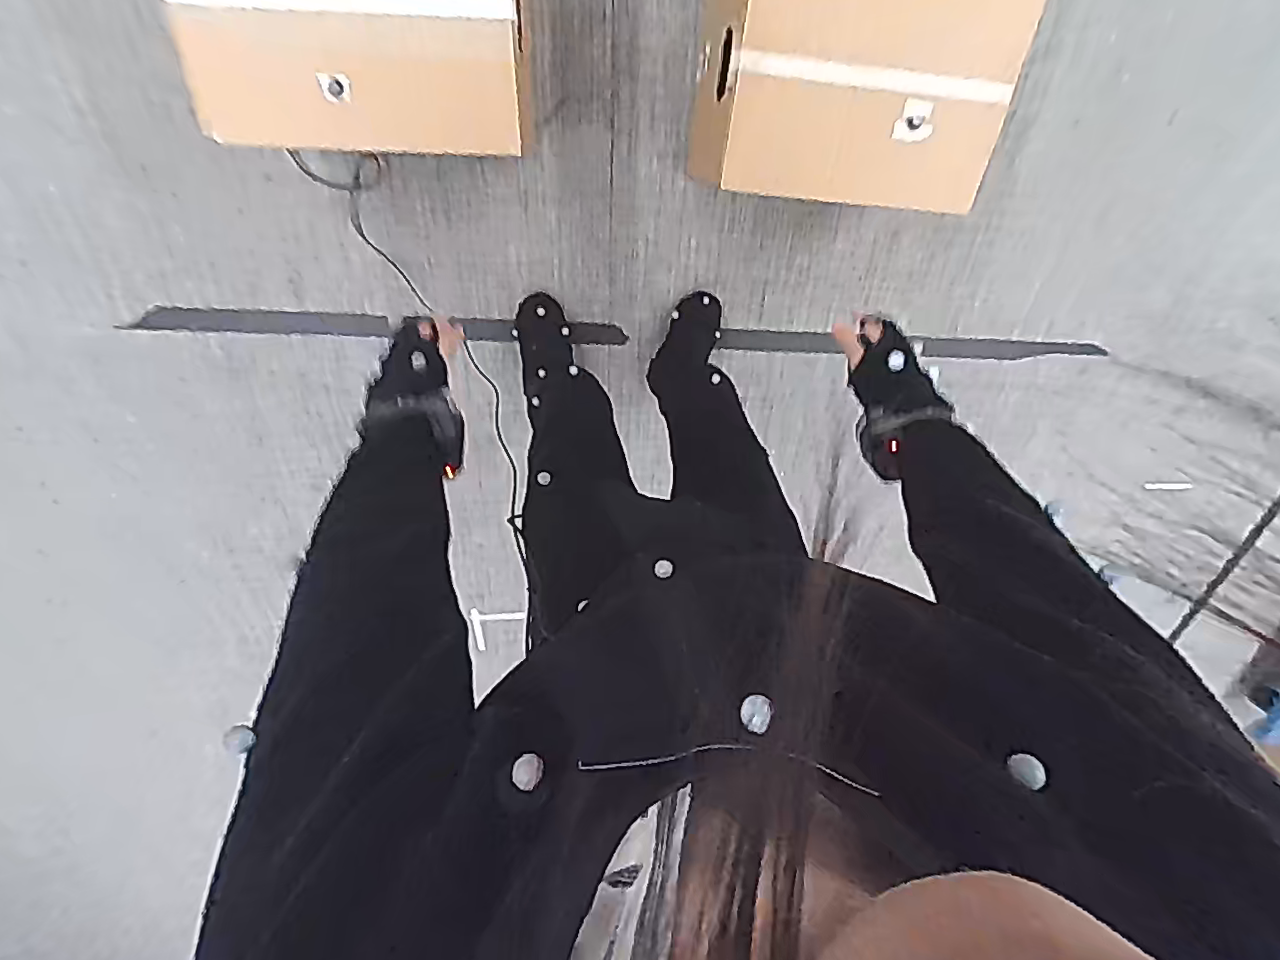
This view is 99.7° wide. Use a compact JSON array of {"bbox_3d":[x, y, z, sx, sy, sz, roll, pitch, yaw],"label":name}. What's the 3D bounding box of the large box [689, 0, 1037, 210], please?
[{"bbox_3d":[0.315,-0.640,0.886,0.408,0.320,0.320,2,121,-8],"label":"large box"}]
